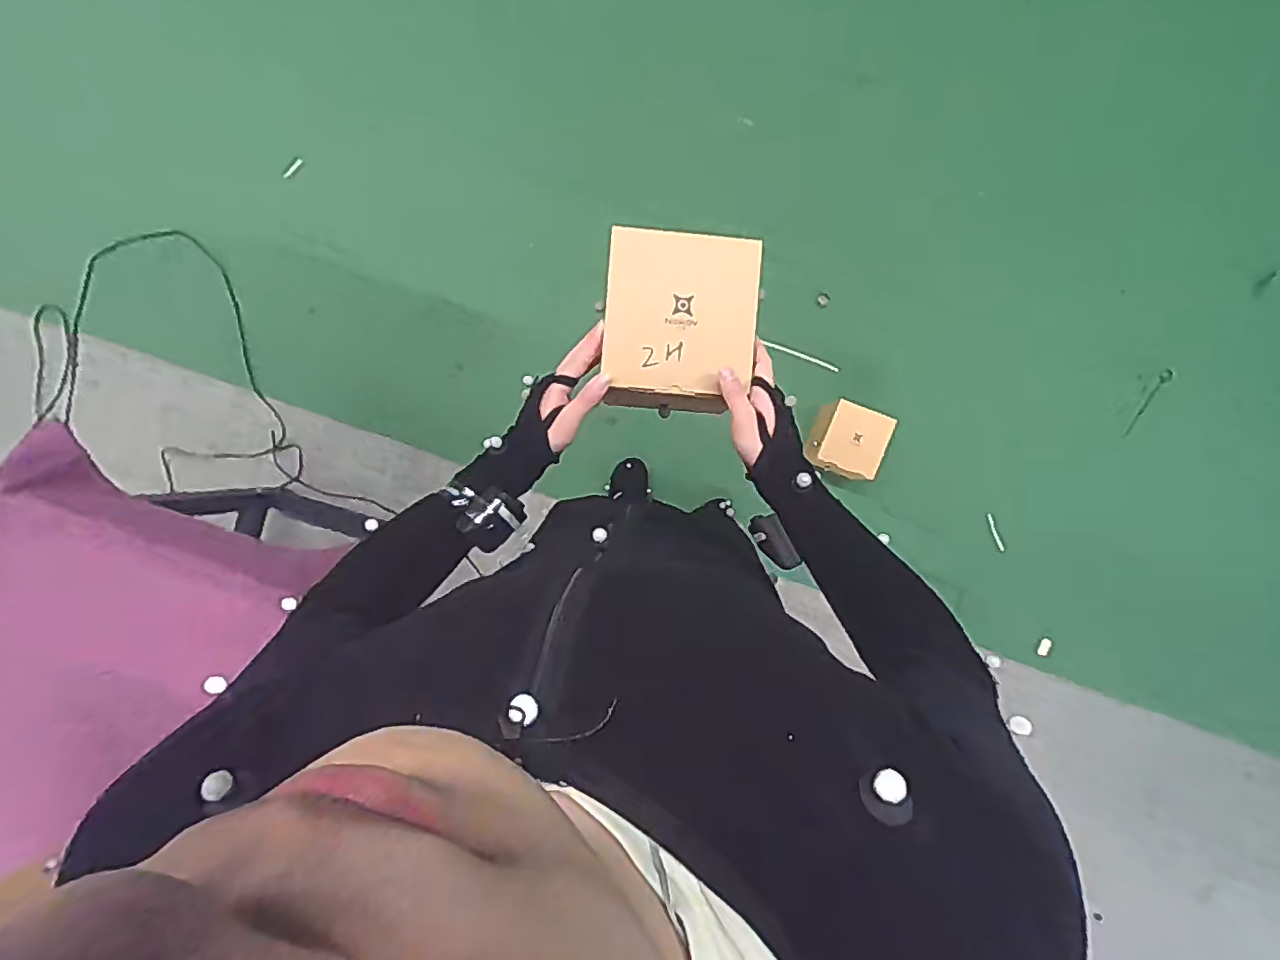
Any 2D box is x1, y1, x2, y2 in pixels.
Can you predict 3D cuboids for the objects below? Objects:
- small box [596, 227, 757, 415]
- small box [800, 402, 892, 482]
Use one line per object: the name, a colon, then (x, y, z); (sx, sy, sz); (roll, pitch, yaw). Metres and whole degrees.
small box: (0.036, -0.181, 0.664); (0.168, 0.176, 0.179); (4, 91, -2)
small box: (0.578, -0.107, 1.541); (0.168, 0.176, 0.179); (21, 93, 0)
